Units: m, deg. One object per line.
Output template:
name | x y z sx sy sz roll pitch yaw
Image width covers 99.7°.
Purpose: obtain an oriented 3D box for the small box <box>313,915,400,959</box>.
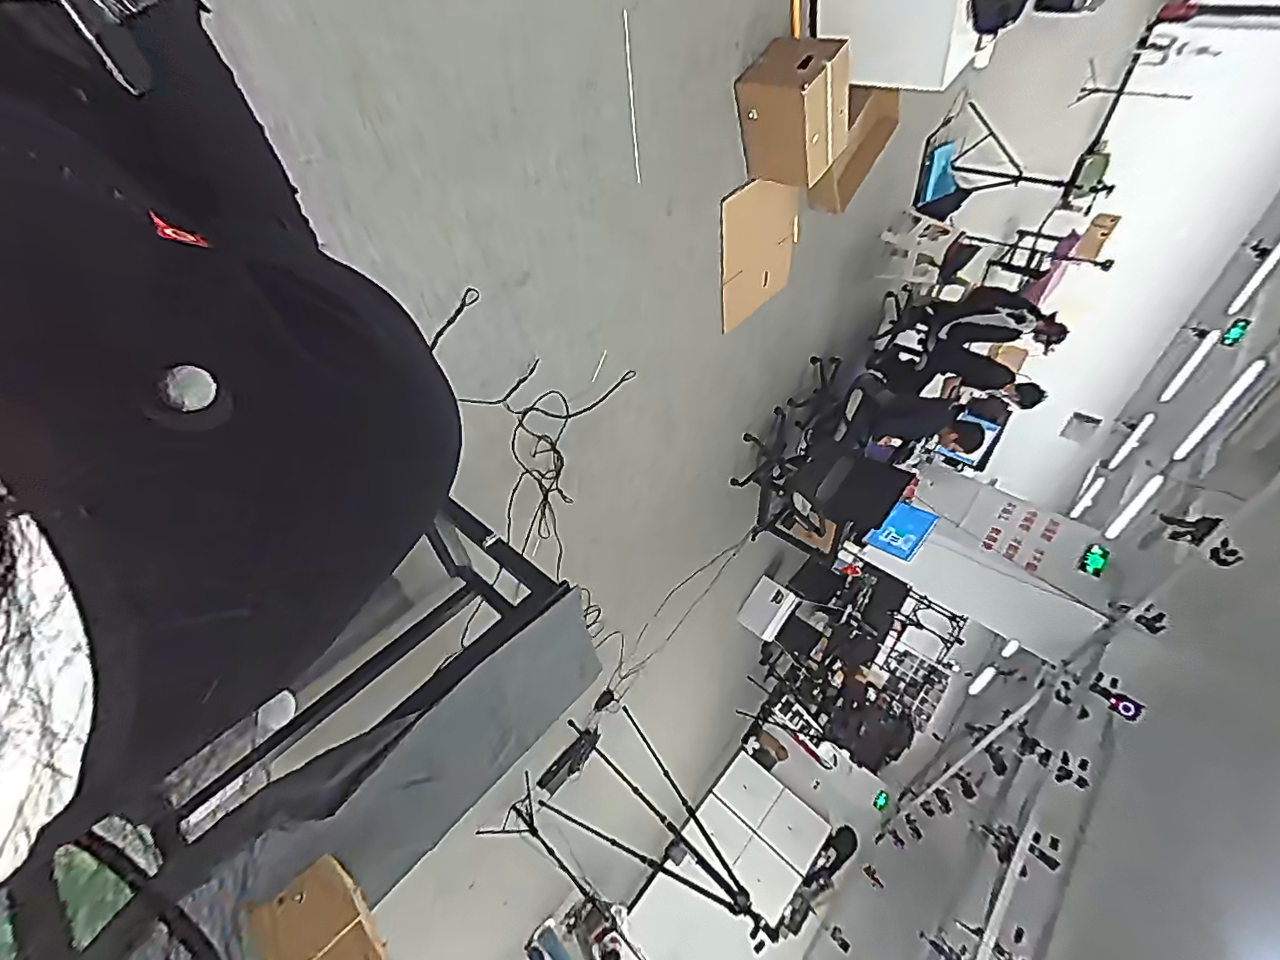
small box | -0.583 1.044 1.099 0.179 0.176 0.168 -31 139 -36
